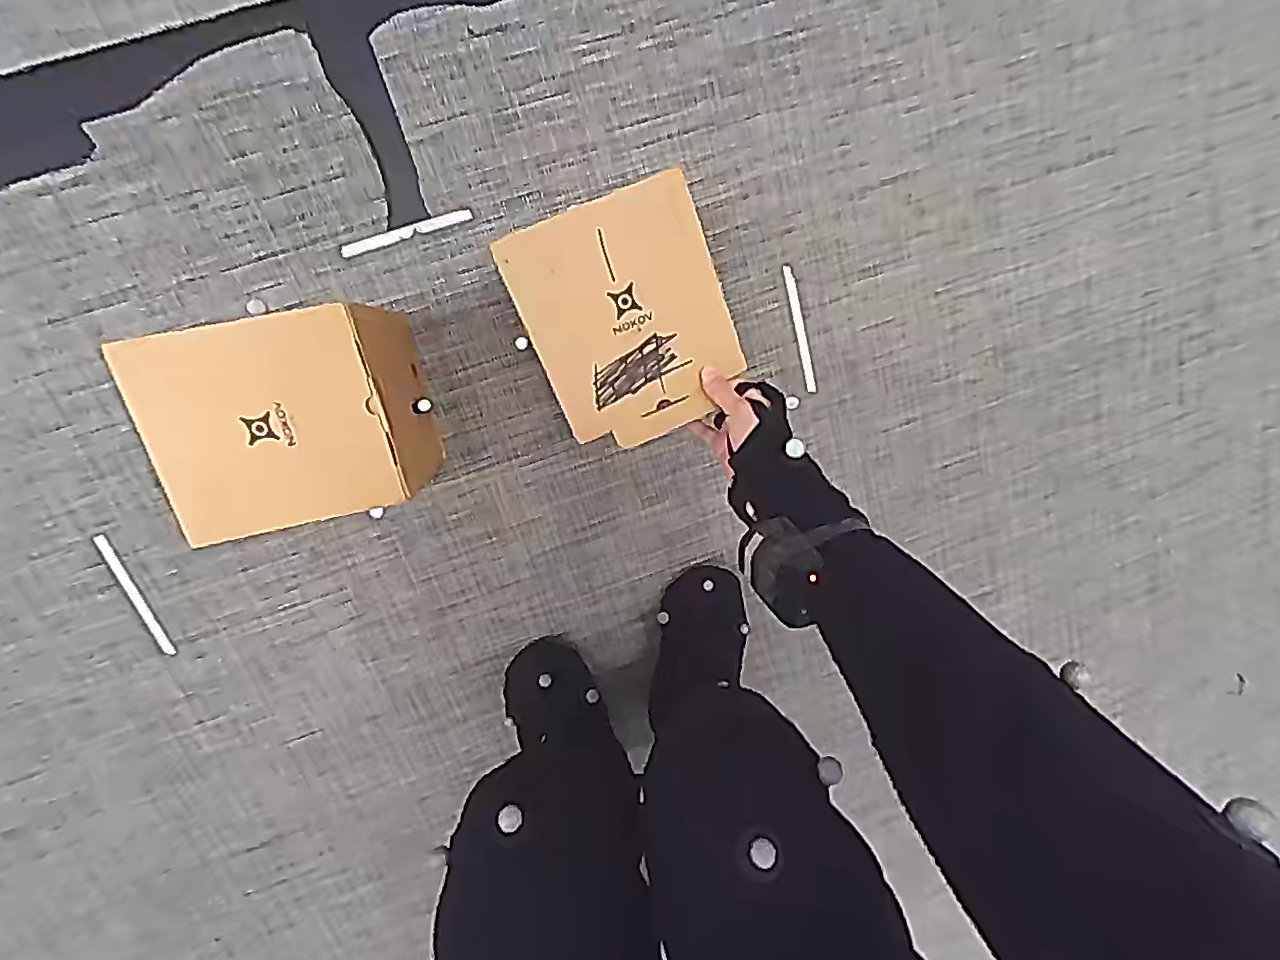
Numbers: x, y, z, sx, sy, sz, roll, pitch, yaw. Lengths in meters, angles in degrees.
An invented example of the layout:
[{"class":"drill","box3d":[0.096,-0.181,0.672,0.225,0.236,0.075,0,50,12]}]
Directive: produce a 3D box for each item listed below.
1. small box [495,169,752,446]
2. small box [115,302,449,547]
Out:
[{"class":"small box","box3d":[-0.020,-0.157,0.515,0.168,0.176,0.179,-25,109,-4]},{"class":"small box","box3d":[-0.296,-0.058,0.496,0.179,0.176,0.168,-13,105,-6]}]
